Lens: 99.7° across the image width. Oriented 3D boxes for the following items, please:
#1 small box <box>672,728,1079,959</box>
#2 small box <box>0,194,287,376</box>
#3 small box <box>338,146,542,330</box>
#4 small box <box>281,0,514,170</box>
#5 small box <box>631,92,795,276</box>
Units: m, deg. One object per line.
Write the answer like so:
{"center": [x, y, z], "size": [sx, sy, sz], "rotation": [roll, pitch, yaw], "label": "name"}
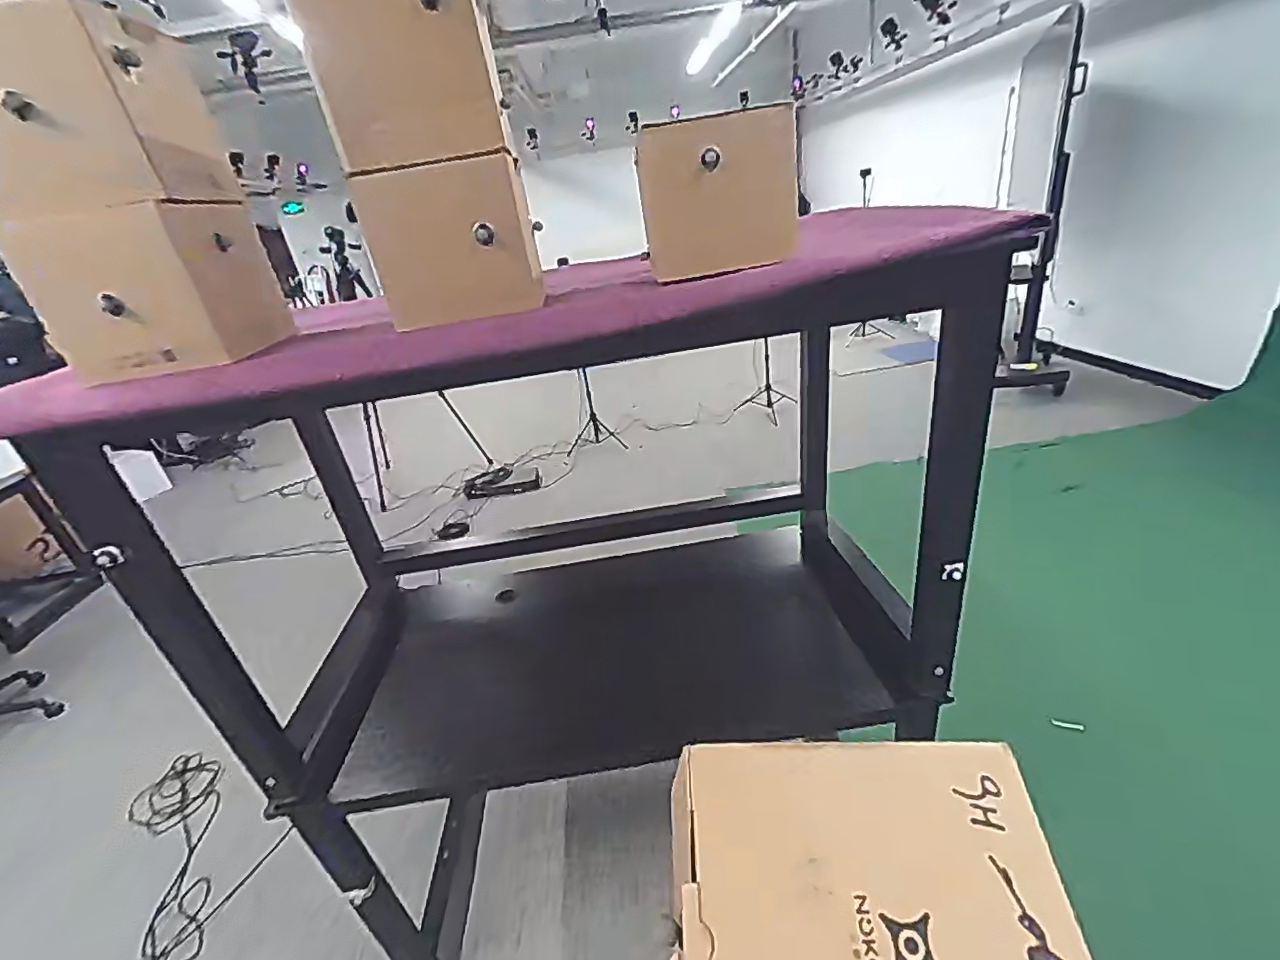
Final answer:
{"center": [0.107, 0.248, 0.310], "size": [0.179, 0.176, 0.168], "rotation": [-1, 55, 1], "label": "small box"}
{"center": [-0.559, -0.228, 0.635], "size": [0.168, 0.176, 0.179], "rotation": [-10, 28, -3], "label": "small box"}
{"center": [-0.225, -0.296, 0.669], "size": [0.179, 0.176, 0.168], "rotation": [-11, 27, -2], "label": "small box"}
{"center": [-0.251, -0.440, 0.598], "size": [0.179, 0.176, 0.168], "rotation": [-11, 27, -3], "label": "small box"}
{"center": [0.090, -0.365, 0.693], "size": [0.179, 0.176, 0.168], "rotation": [-9, 25, 1], "label": "small box"}
